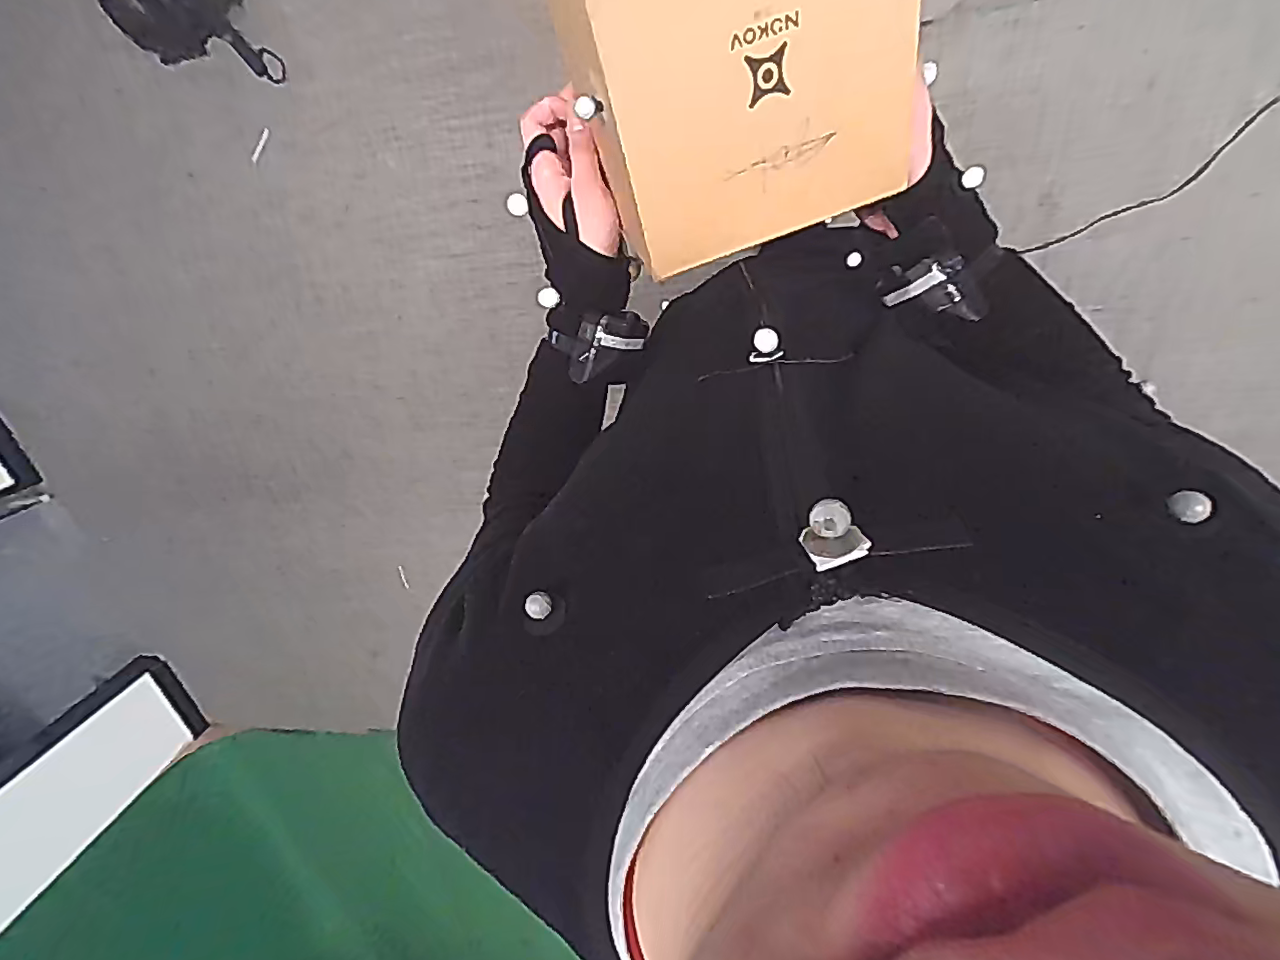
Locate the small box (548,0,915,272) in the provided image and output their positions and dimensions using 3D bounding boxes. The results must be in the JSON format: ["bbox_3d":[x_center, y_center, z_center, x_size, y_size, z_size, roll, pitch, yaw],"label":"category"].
[{"bbox_3d":[0.044,-0.264,0.334,0.168,0.176,0.179,-19,134,0],"label":"small box"}]
